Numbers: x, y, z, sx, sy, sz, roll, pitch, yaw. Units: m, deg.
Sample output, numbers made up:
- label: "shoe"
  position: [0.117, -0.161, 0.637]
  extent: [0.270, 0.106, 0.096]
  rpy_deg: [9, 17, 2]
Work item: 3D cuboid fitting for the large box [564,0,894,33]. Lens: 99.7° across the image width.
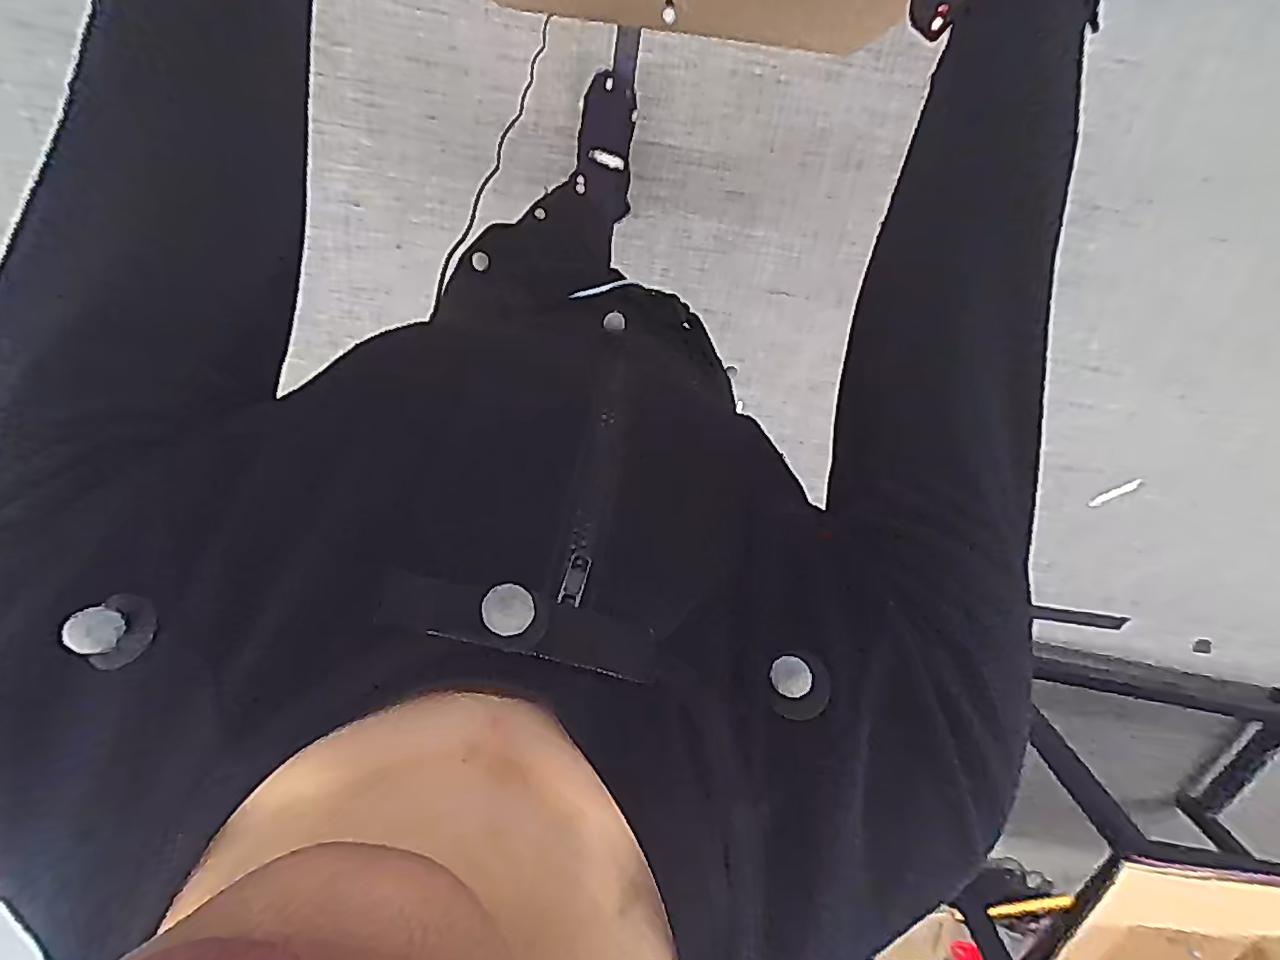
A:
- label: "large box"
  position: [0.048, -0.575, 0.402]
  extent: [0.408, 0.320, 0.320]
  rpy_deg: [9, 119, 1]
